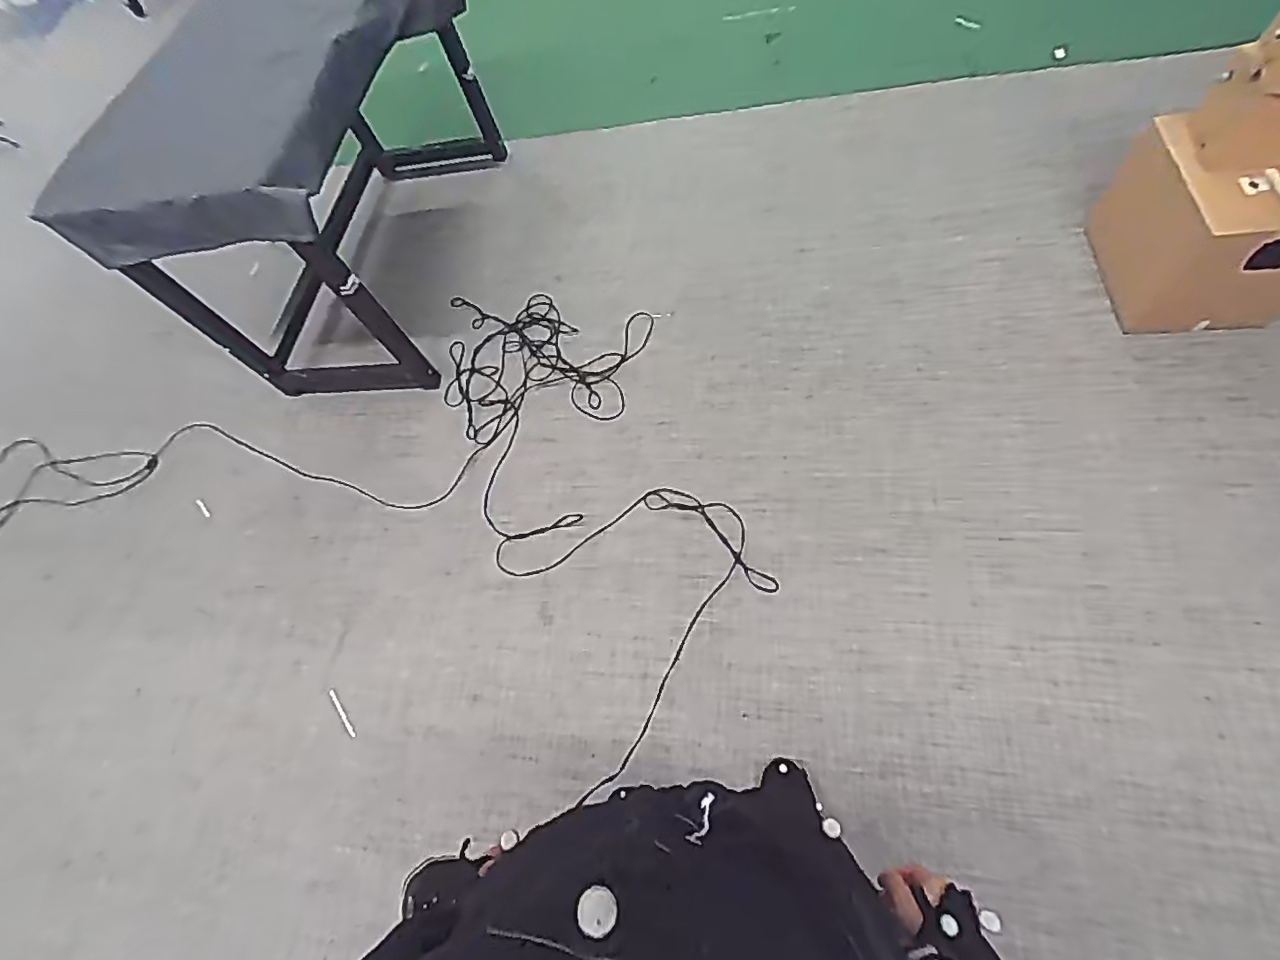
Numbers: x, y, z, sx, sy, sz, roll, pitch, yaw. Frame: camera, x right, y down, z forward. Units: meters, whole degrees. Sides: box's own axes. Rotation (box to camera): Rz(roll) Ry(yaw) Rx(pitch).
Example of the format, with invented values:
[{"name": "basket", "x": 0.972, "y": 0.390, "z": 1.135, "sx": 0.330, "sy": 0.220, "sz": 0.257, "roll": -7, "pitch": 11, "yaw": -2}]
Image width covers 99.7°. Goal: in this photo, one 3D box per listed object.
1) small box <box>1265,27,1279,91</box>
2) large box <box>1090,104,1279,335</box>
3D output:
[{"name": "small box", "x": 1.297, "y": -0.829, "z": 0.964, "sx": 0.179, "sy": 0.176, "sz": 0.168, "roll": 13, "pitch": 69, "yaw": 17}, {"name": "large box", "x": 1.387, "y": -0.613, "z": 1.300, "sx": 0.320, "sy": 0.320, "sz": 0.408, "roll": -1, "pitch": 66, "yaw": 12}]
